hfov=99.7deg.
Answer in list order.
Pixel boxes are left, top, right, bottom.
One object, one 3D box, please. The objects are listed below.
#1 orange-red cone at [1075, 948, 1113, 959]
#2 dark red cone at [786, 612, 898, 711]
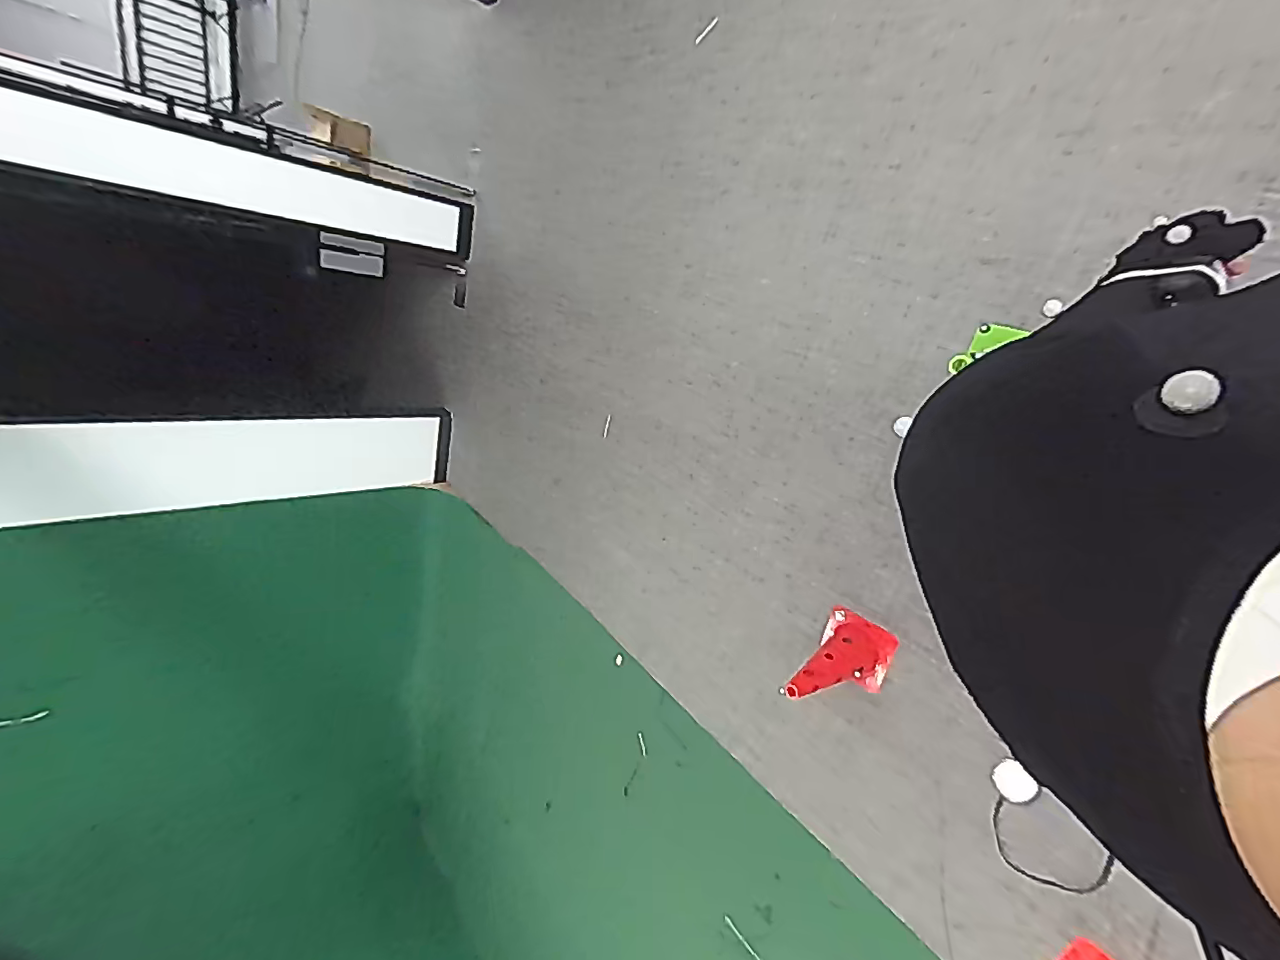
[{"bbox_3d":[0.963,1.211,1.106,0.198,0.360,0.199,33,117,38],"label":"orange-red cone"},{"bbox_3d":[0.515,0.524,1.460,0.202,0.394,0.201,27,116,42],"label":"dark red cone"}]
